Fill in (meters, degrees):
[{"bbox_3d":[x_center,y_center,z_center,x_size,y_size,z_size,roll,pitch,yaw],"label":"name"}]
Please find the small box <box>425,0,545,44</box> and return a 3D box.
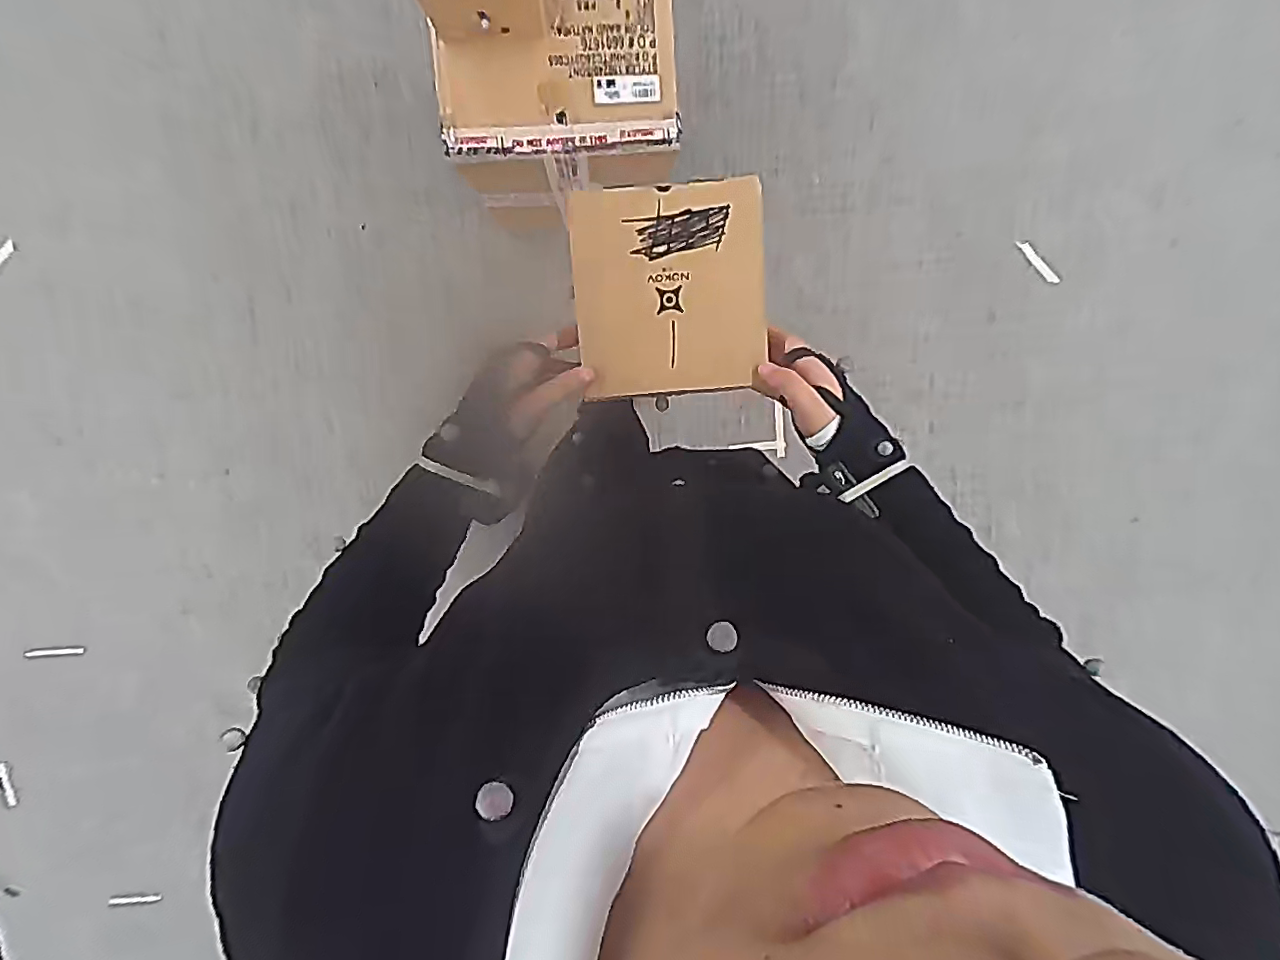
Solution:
[{"bbox_3d":[-0.231,-0.755,0.751,0.168,0.176,0.179,-4,102,0],"label":"small box"}]
